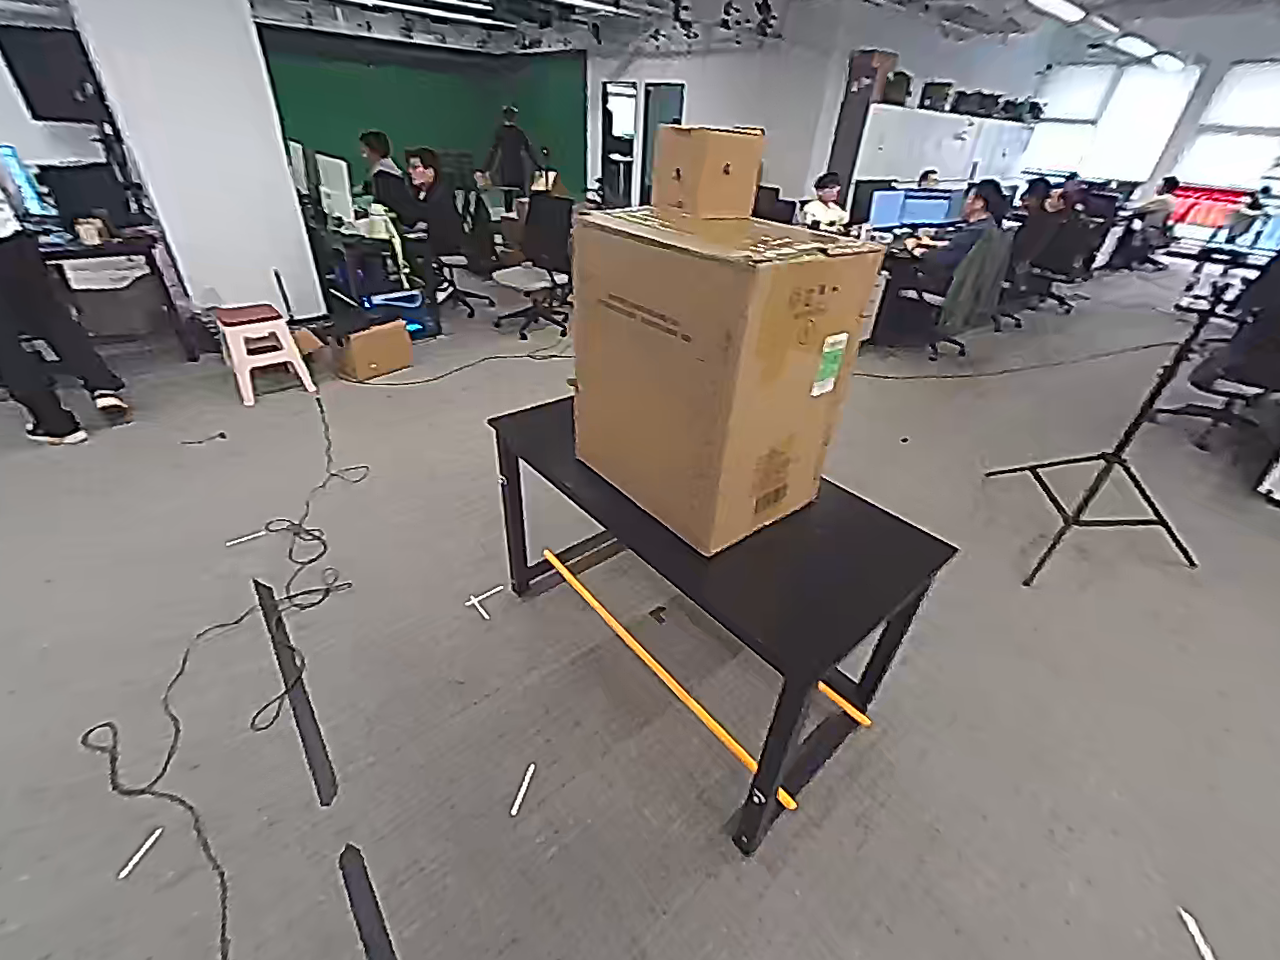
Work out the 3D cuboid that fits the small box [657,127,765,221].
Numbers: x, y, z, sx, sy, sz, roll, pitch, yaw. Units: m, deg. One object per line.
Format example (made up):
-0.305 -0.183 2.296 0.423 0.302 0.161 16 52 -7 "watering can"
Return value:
0.152 -0.689 1.219 0.179 0.176 0.168 -20 41 -33 "small box"
